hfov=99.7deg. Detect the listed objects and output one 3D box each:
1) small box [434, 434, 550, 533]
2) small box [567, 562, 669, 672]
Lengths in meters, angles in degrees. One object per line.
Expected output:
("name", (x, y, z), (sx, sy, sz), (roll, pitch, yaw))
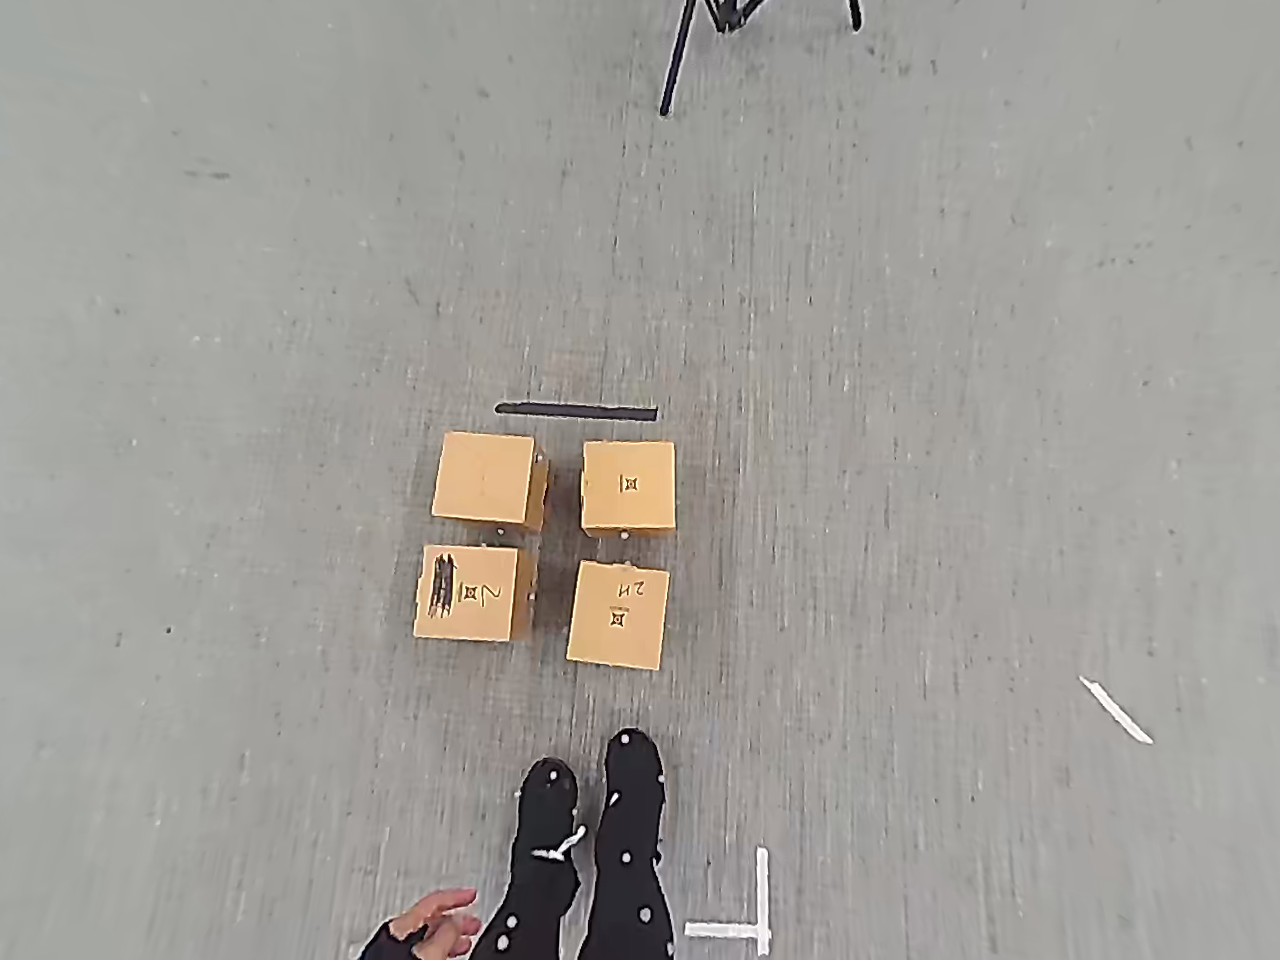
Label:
("small box", (-0.291, 0.013, 1.095), (0.179, 0.176, 0.168), (5, 77, 1))
("small box", (-0.038, 0.259, 1.042), (0.168, 0.176, 0.179), (7, 78, 1))
